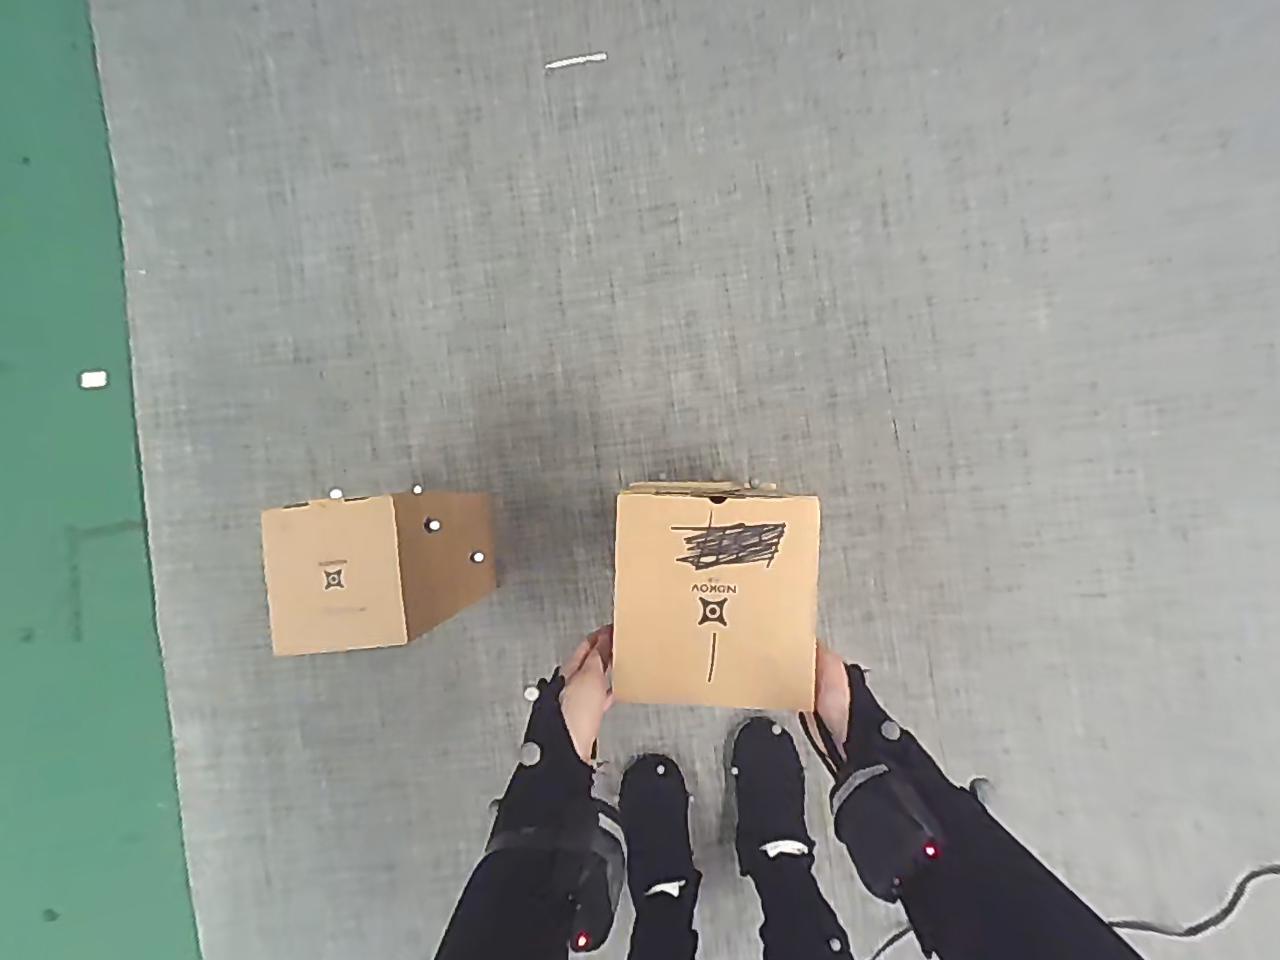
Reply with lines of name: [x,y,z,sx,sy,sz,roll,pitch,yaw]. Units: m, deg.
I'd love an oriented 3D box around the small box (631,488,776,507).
small box: [0.073,0.099,0.686,0.168,0.176,0.179,0,91,4]

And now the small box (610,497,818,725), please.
small box: [0.063,0.109,0.522,0.168,0.176,0.179,2,92,3]

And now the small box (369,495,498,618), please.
small box: [-0.337,0.118,0.873,0.168,0.176,0.179,-4,90,4]

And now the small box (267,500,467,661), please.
small box: [-0.344,0.119,0.711,0.168,0.176,0.179,-7,90,5]
